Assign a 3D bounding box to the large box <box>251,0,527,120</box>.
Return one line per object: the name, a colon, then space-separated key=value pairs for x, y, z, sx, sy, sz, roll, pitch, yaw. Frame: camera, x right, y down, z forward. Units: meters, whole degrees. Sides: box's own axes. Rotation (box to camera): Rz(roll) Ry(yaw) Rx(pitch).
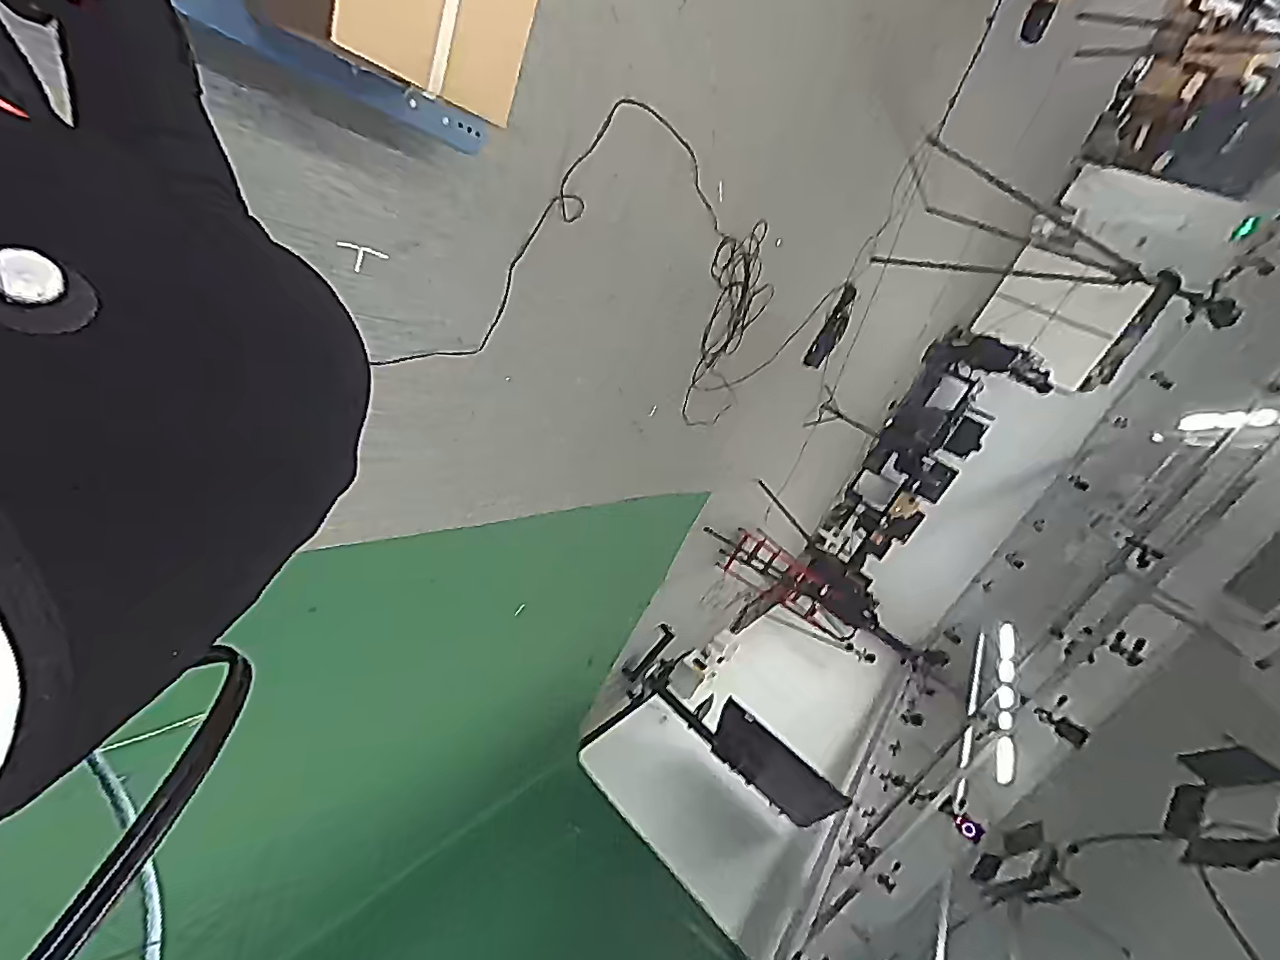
large box: x=-0.390 y=-0.887 z=0.874 sx=0.320 sy=0.320 sz=0.408 roll=-12 pitch=130 yaw=-53
